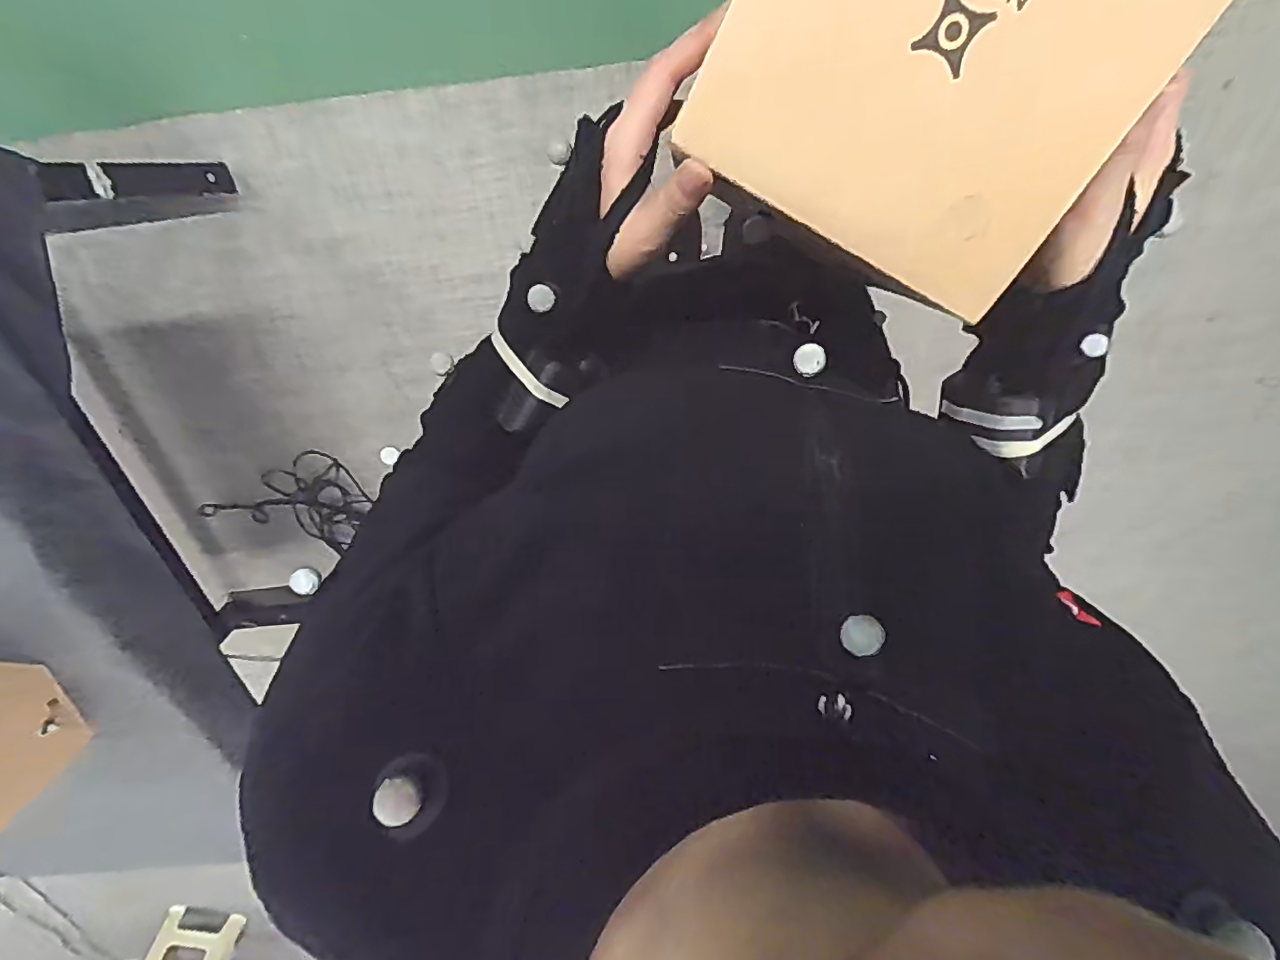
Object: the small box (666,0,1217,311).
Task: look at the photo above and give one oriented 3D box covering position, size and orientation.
[{"bbox_3d":[0.128,-0.214,0.280,0.168,0.176,0.179,26,114,-7],"label":"small box"}]
